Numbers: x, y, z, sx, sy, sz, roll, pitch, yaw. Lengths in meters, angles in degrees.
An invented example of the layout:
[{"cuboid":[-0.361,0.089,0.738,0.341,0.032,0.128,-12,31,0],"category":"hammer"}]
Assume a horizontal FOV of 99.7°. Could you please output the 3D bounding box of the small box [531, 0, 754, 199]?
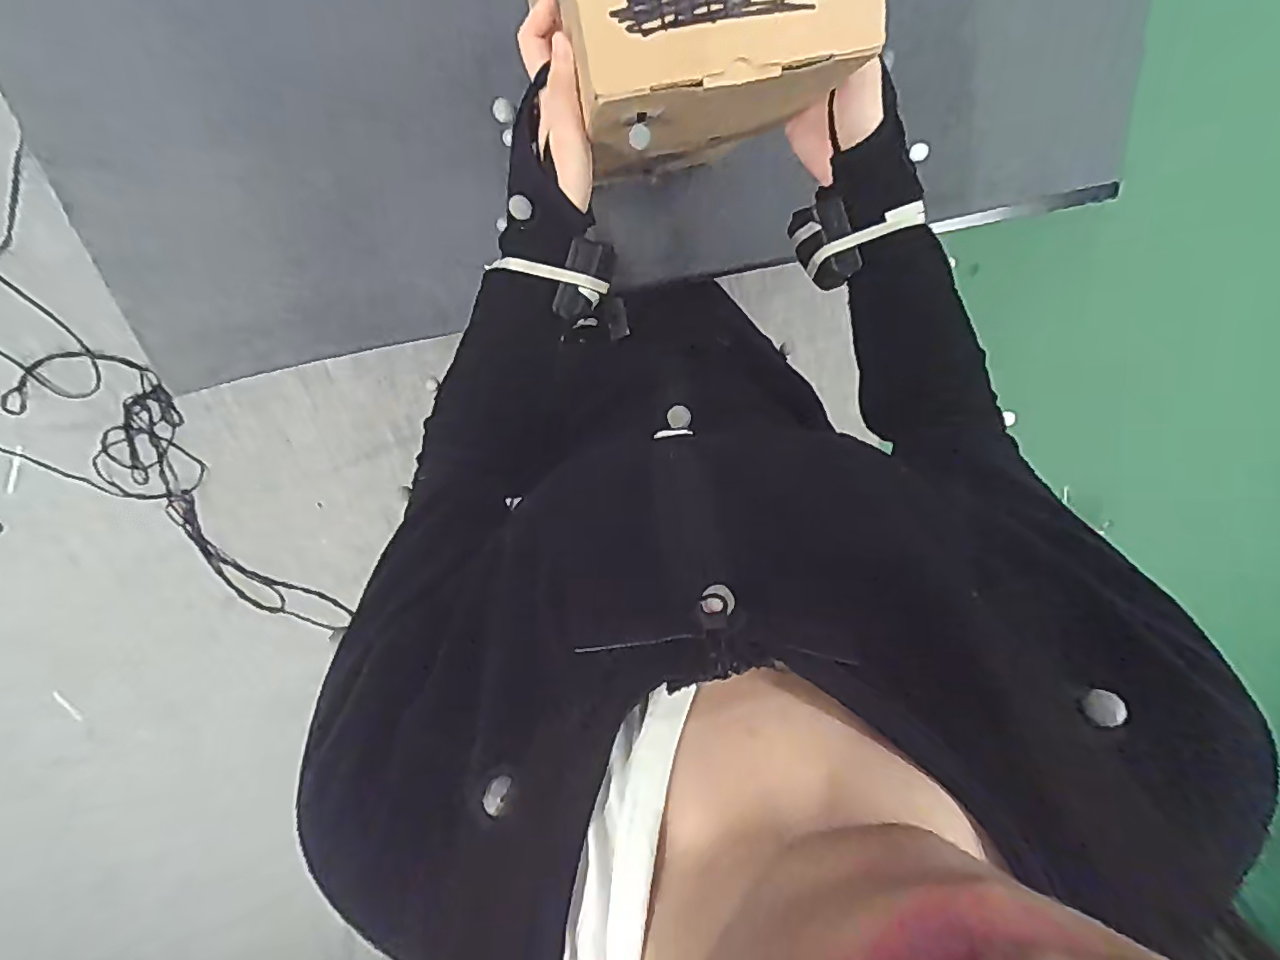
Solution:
[{"cuboid":[-0.006,-0.387,0.515,0.168,0.176,0.179,-14,113,-3],"category":"small box"}]
